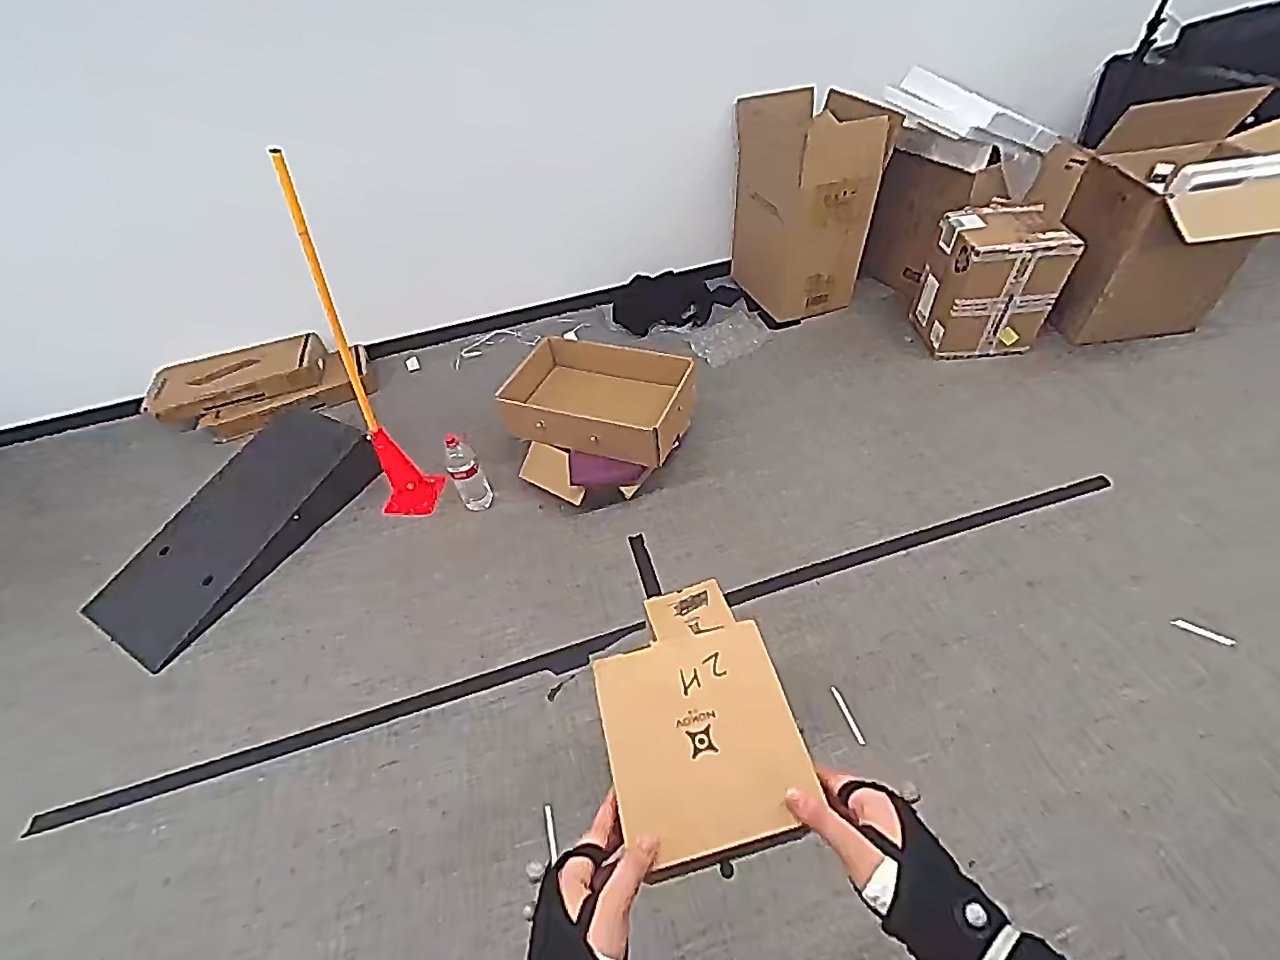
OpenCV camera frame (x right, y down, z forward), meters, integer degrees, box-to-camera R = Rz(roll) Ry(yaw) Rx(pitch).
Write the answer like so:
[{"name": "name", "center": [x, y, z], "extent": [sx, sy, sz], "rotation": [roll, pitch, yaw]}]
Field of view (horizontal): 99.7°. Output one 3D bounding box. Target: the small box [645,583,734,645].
[{"name": "small box", "center": [0.116, 0.355, 1.156], "extent": [0.168, 0.176, 0.179], "rotation": [-17, 48, -9]}]

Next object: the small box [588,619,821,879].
[{"name": "small box", "center": [0.056, 0.269, 0.535], "extent": [0.168, 0.176, 0.179], "rotation": [-14, 51, -5]}]
